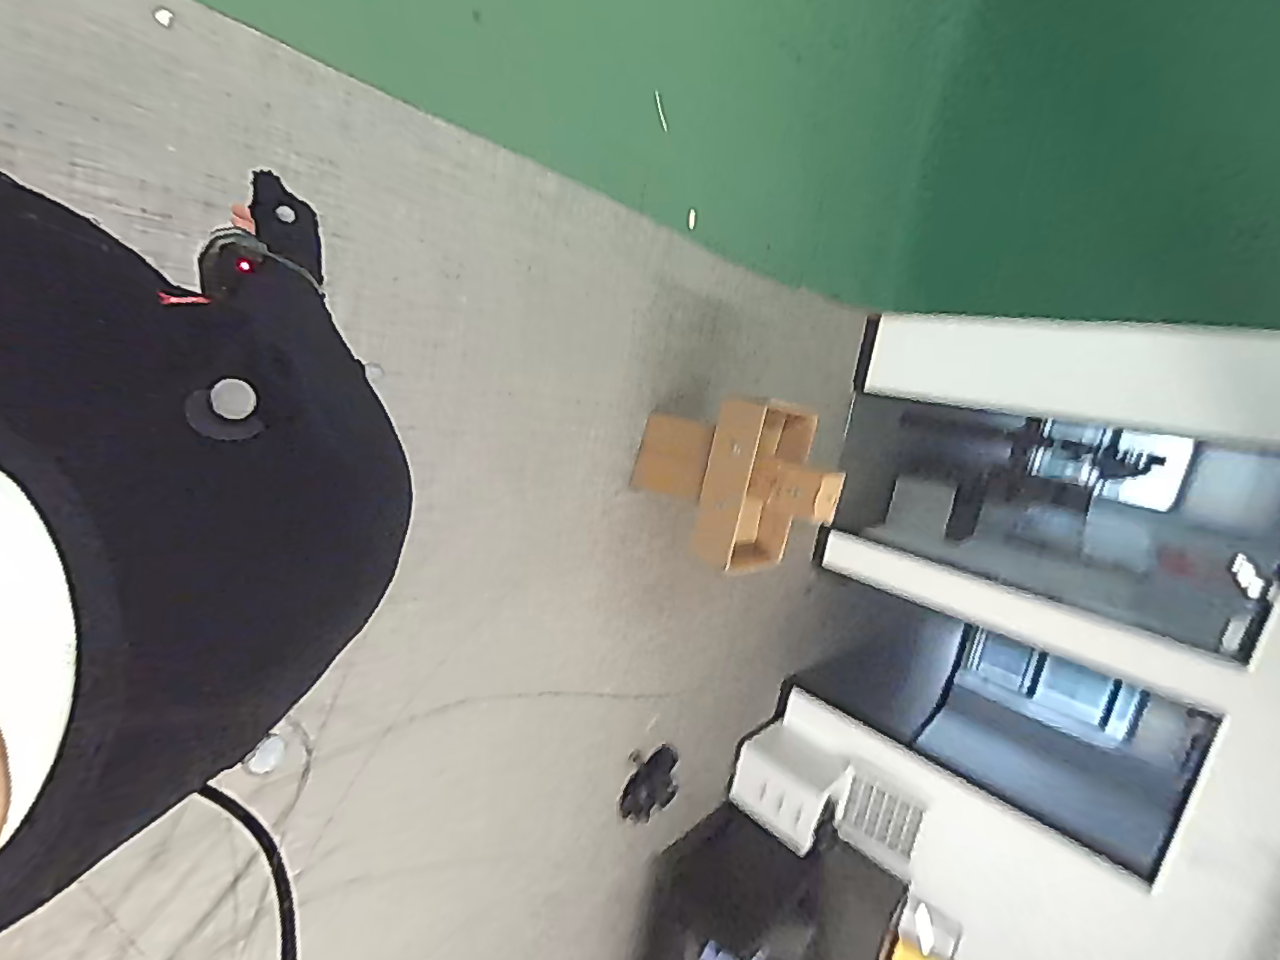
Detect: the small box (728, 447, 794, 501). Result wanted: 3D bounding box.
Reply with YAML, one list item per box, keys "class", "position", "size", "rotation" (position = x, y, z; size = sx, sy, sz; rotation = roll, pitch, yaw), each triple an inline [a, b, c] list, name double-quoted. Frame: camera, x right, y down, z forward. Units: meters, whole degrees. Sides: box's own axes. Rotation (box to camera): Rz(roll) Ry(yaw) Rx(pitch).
- class: "small box"
  position: [0.453, -0.024, 2.028]
  size: [0.179, 0.176, 0.168]
  rotation: [-1, 108, -50]

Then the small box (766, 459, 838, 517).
- class: "small box"
  position: [0.575, 0.025, 1.929]
  size: [0.179, 0.176, 0.168]
  rotation: [-3, 109, -47]
